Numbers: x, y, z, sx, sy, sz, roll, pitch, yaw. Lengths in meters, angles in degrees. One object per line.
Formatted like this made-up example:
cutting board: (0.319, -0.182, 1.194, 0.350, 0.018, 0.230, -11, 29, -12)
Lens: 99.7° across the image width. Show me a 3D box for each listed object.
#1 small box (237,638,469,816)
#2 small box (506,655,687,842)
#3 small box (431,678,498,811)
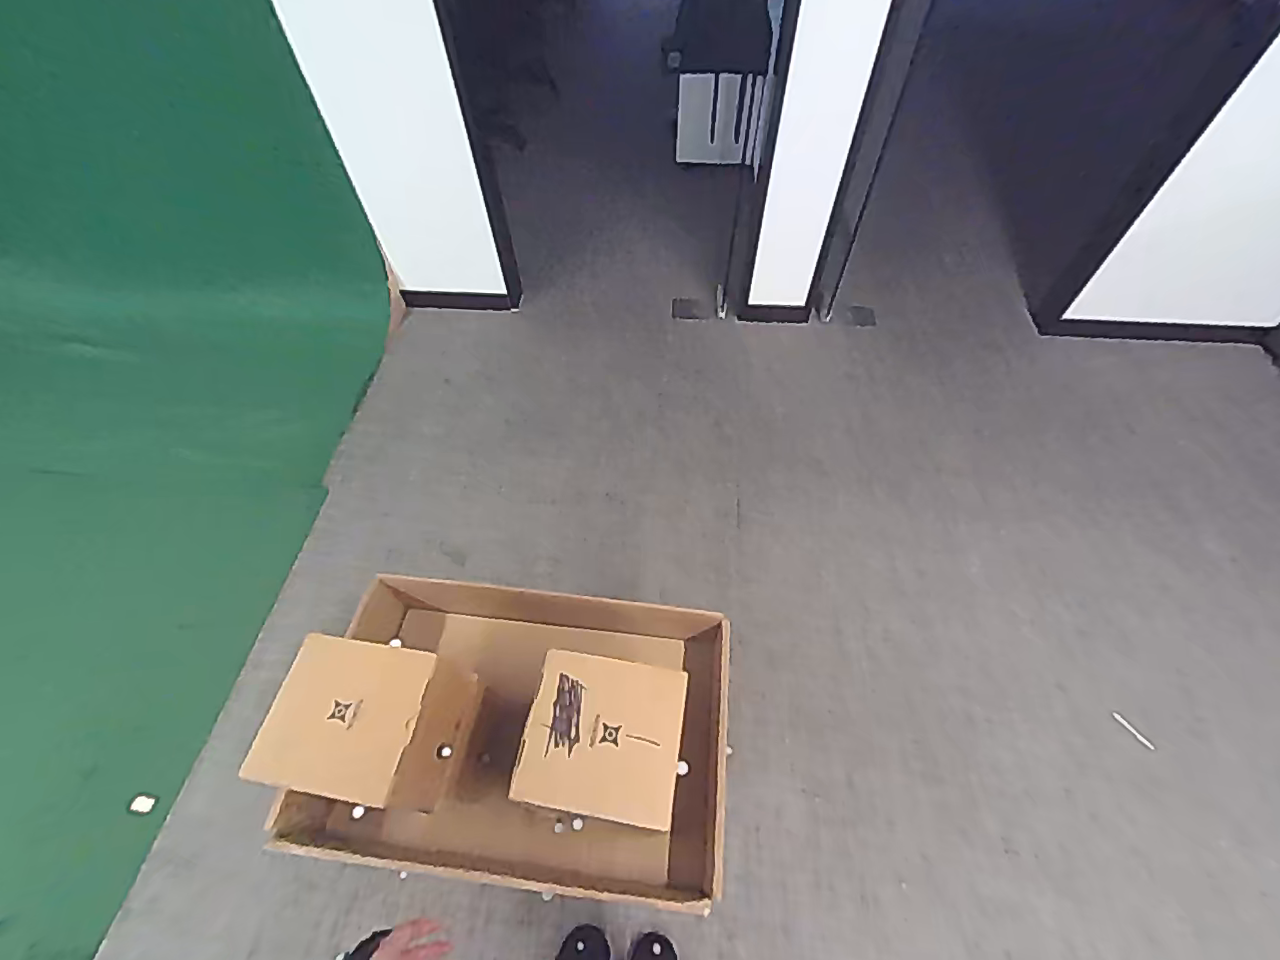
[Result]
small box: (-0.345, 0.320, 0.693, 0.179, 0.176, 0.168, 8, 56, 5)
small box: (-0.044, 0.337, 0.672, 0.179, 0.176, 0.168, 9, 55, 6)
small box: (-0.339, 0.401, 0.834, 0.179, 0.176, 0.168, 7, 56, 5)
